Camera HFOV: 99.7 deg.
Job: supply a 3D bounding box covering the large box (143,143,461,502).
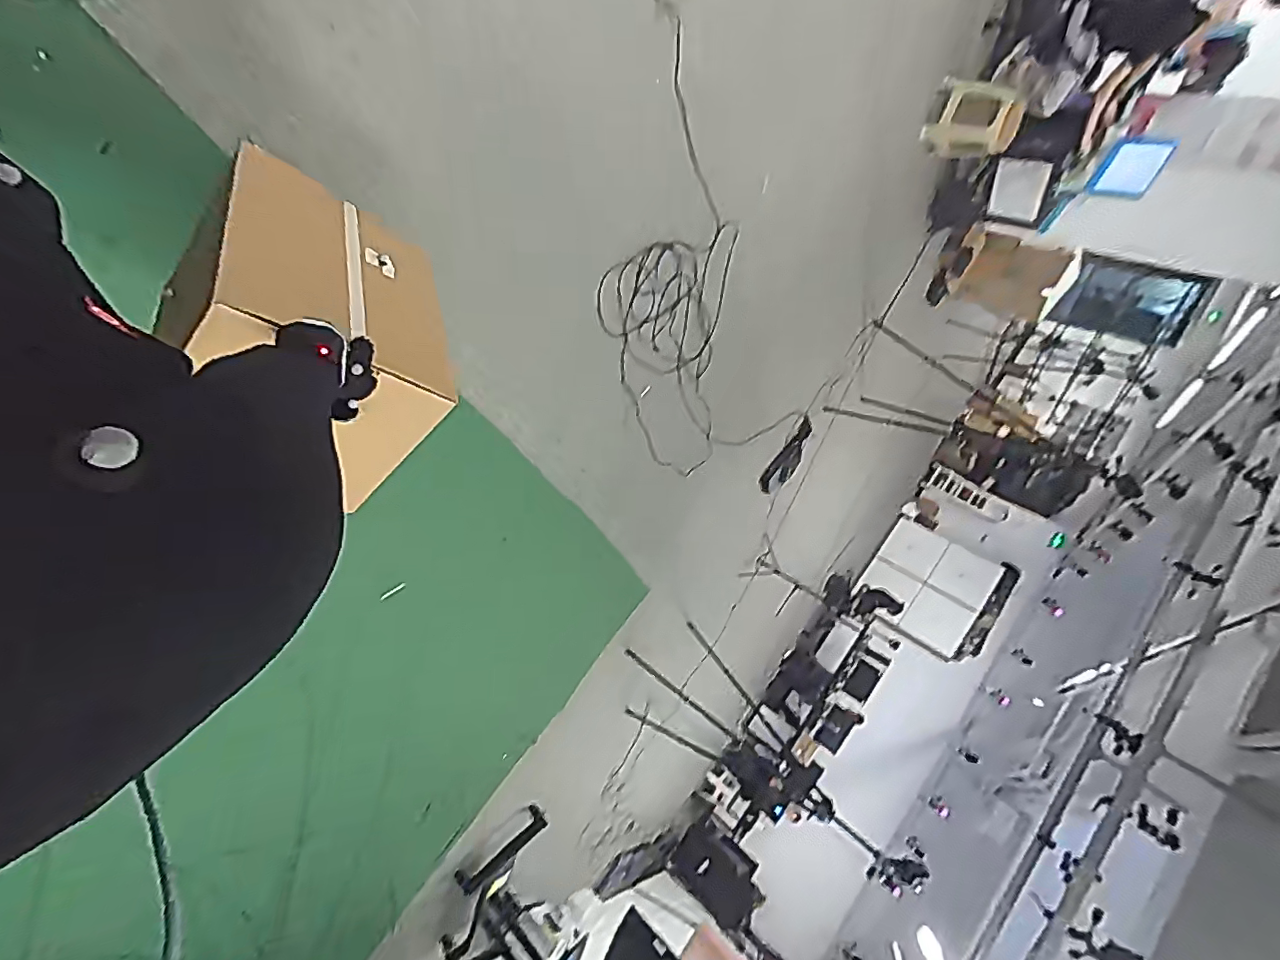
[{"bbox_3d":[-0.538,-0.229,0.877,0.320,0.408,0.320,-39,144,23],"label":"large box"}]
